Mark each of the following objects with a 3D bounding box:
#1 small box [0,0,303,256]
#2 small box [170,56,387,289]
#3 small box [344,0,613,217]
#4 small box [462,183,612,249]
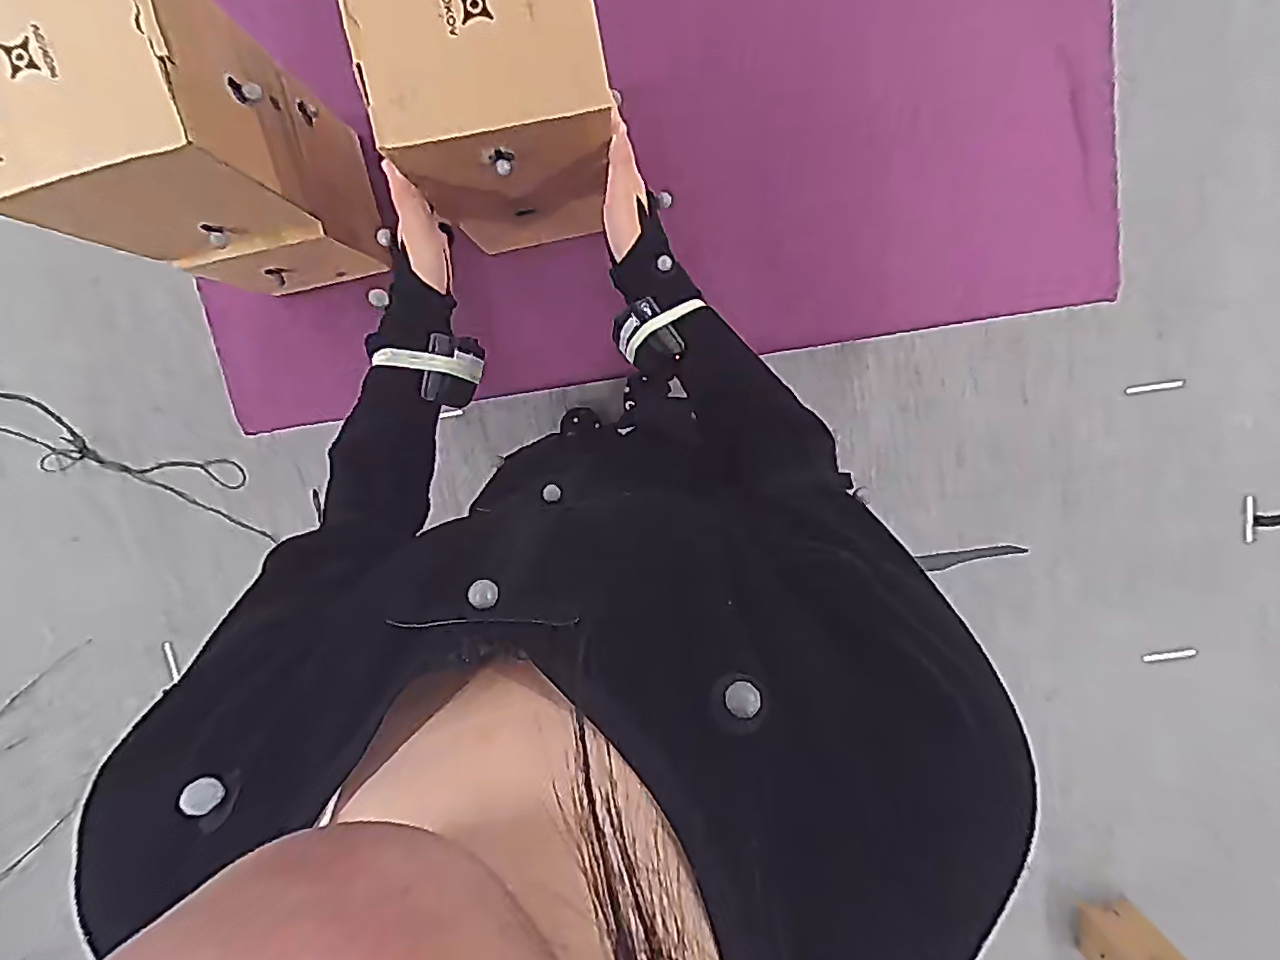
[{"bbox_3d":[-0.428,-0.312,0.463,0.179,0.176,0.168,-14,98,1],"label":"small box"},{"bbox_3d":[-0.424,-0.332,0.626,0.168,0.176,0.179,-12,99,1],"label":"small box"},{"bbox_3d":[-0.122,-0.345,0.460,0.179,0.176,0.168,-11,99,-1],"label":"small box"},{"bbox_3d":[-0.133,-0.382,0.621,0.179,0.176,0.168,-11,99,0],"label":"small box"}]
